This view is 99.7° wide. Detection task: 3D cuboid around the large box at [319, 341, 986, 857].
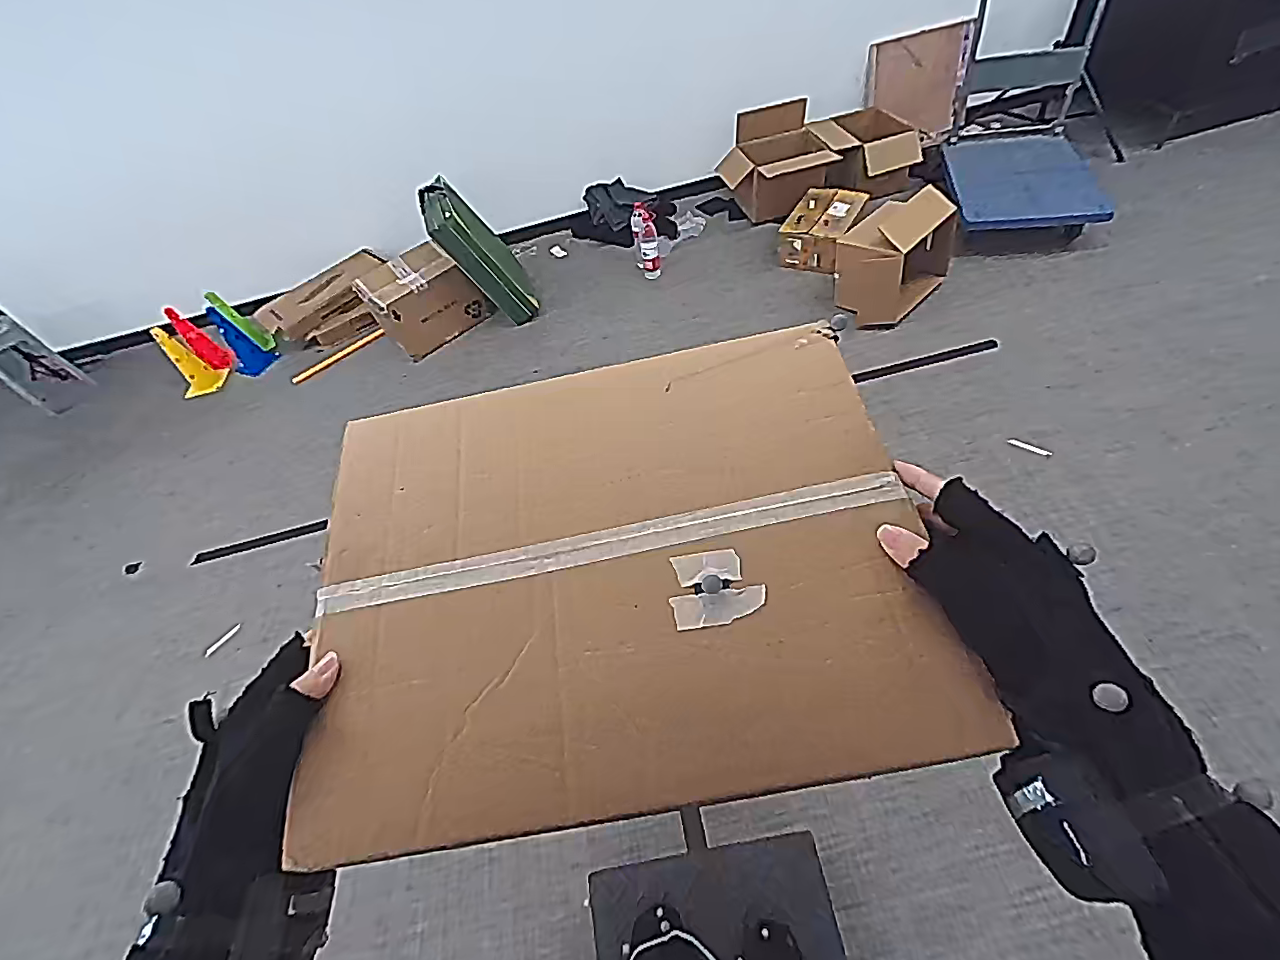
[{"bbox_3d":[-0.001,0.125,0.513,0.408,0.320,0.320,-11,60,2],"label":"large box"}]
